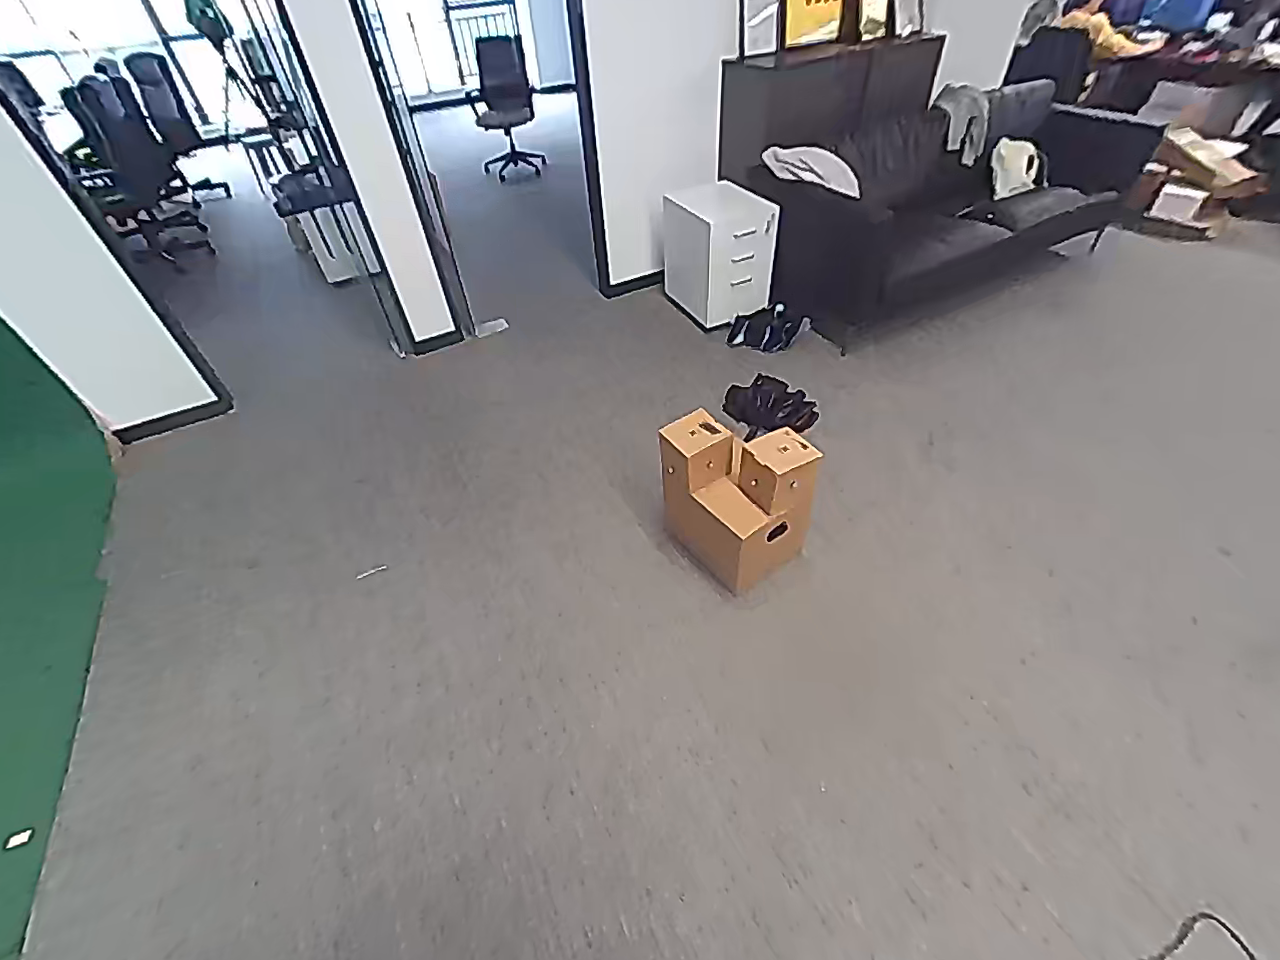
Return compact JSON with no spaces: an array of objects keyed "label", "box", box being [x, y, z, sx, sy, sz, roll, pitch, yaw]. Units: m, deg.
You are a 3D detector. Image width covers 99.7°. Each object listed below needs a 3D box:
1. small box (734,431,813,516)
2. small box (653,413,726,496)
[{"label":"small box","box":[0.403,-0.018,1.668,0.179,0.176,0.168,-22,47,-21]},{"label":"small box","box":[0.157,-0.082,1.750,0.179,0.176,0.168,-27,49,-19]}]
